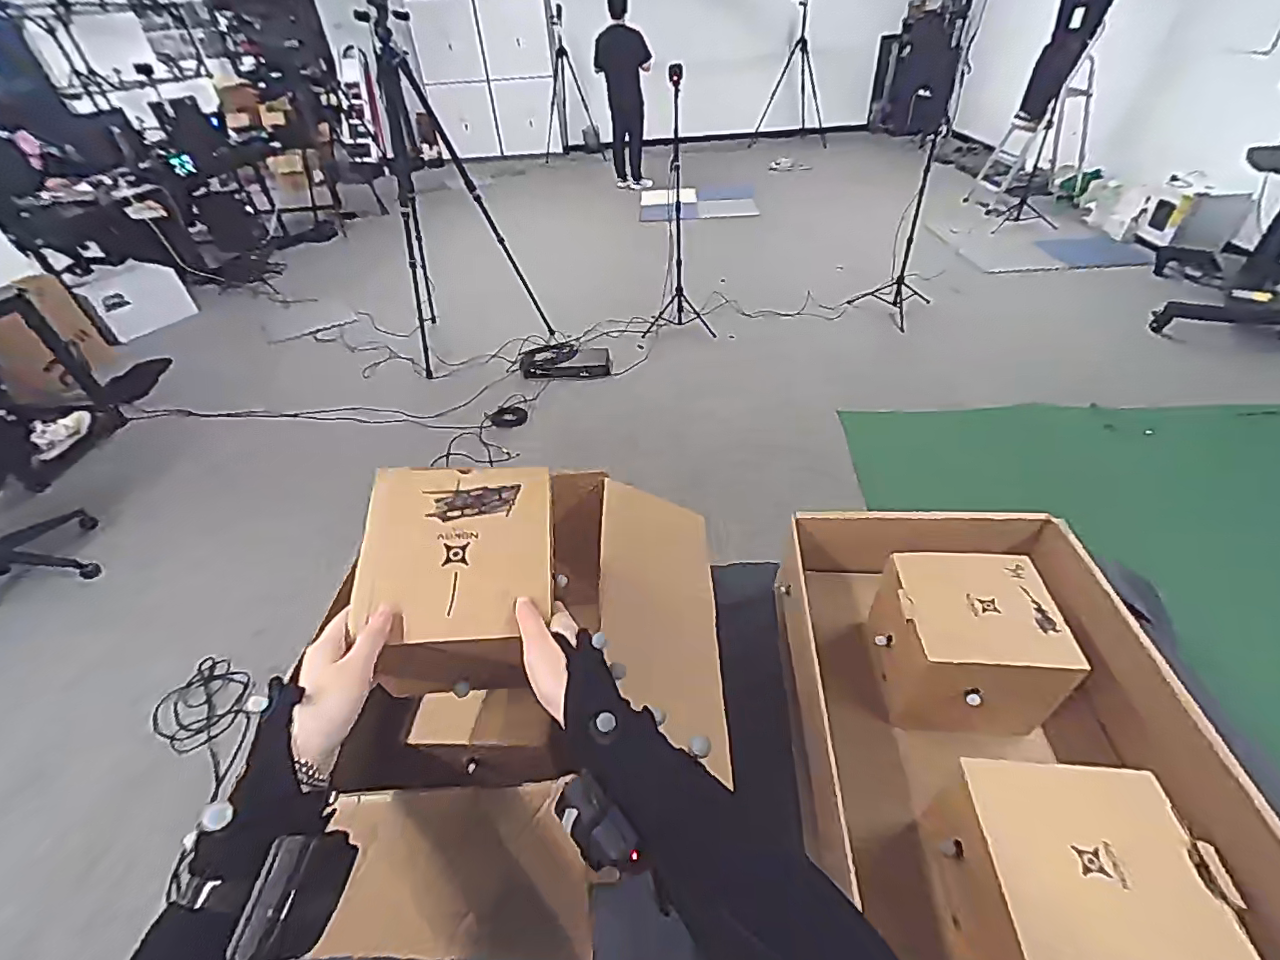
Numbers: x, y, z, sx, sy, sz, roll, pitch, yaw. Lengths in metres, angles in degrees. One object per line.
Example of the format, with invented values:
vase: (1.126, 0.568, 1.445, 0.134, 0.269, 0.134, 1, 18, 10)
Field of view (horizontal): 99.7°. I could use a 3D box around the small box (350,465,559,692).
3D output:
small box: (-0.167, 0.102, 0.549, 0.168, 0.176, 0.179, -2, 58, -9)
